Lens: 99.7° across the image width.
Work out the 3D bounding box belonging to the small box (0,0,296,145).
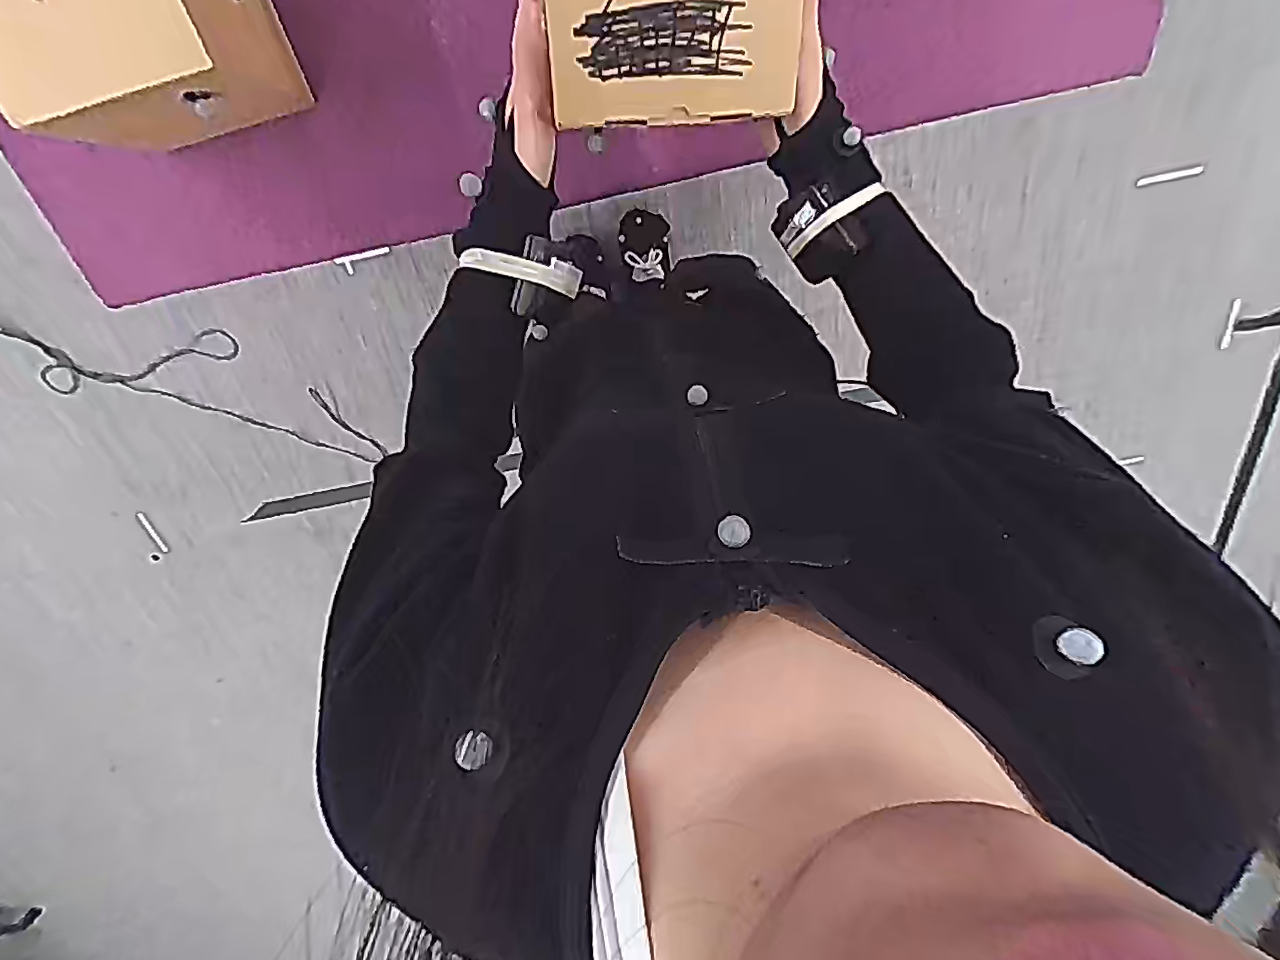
[{"bbox_3d":[-0.431,-0.402,0.454,0.179,0.176,0.168,-14,116,3],"label":"small box"}]
